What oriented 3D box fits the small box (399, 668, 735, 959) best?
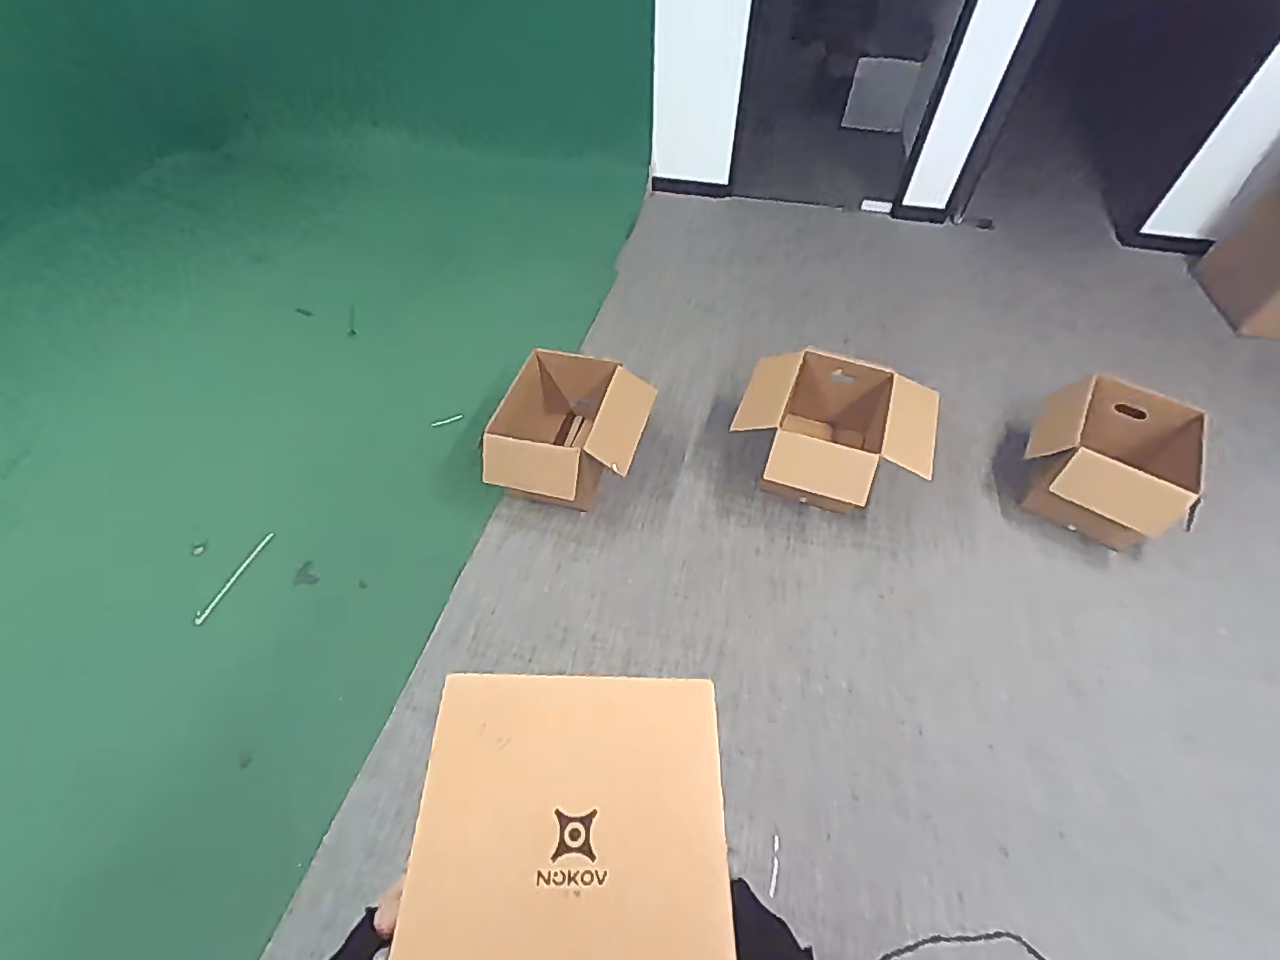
[{"bbox_3d":[-0.042,0.238,0.357,0.168,0.176,0.179,3,55,-5],"label":"small box"}]
